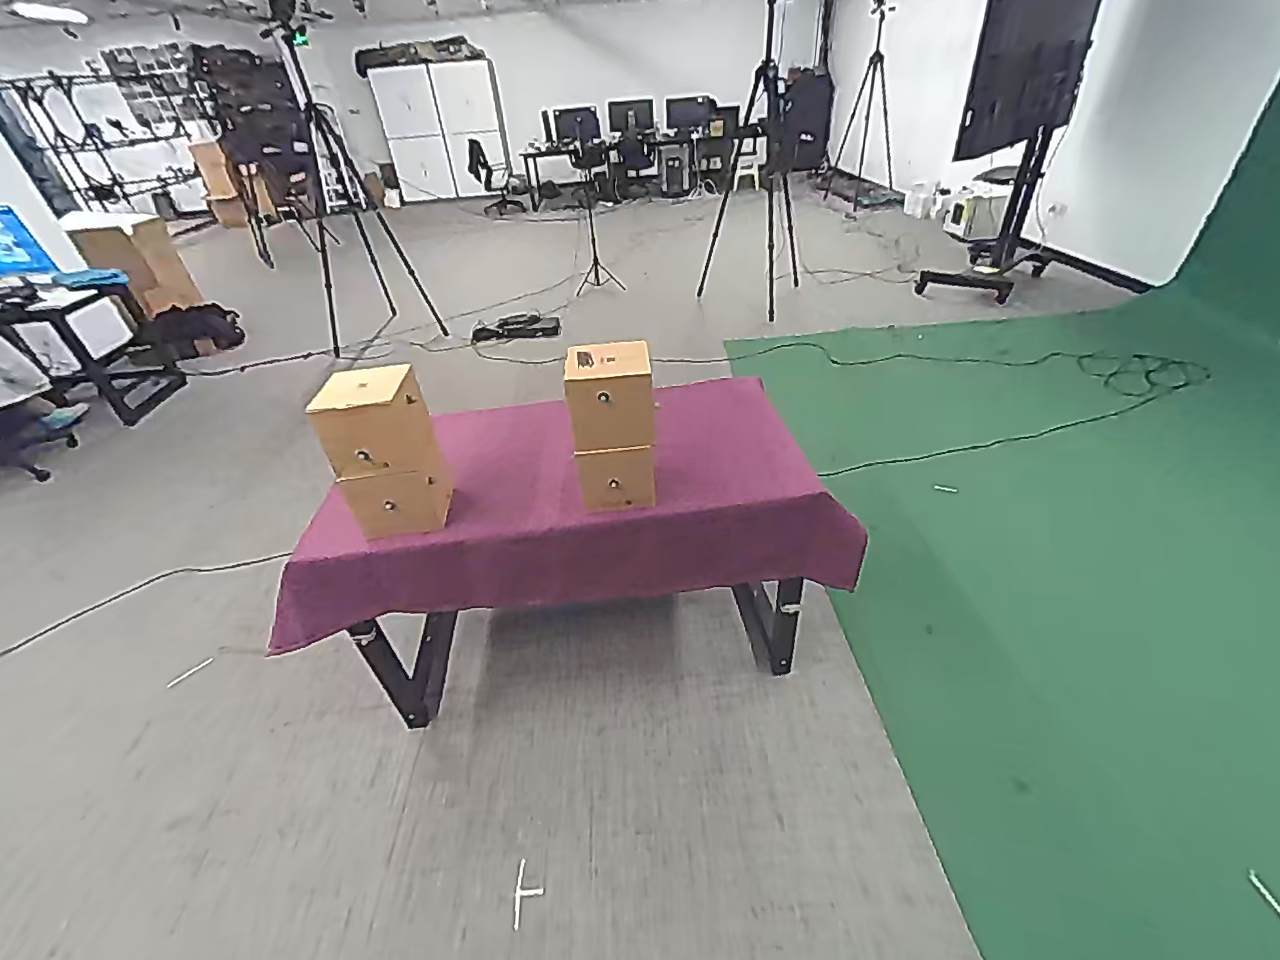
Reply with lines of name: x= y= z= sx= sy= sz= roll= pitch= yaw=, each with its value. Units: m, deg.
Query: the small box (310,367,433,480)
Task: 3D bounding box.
small box: x=-0.553 y=-0.121 z=1.145 sx=0.168 sy=0.176 sz=0.179 roll=-7 pitch=37 yaw=-3

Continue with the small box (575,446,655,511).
small box: x=-0.055 y=-0.040 z=1.255 sx=0.168 sy=0.176 sz=0.179 roll=-5 pitch=36 yaw=-1

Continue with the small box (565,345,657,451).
small box: x=-0.058 y=-0.174 z=1.159 sx=0.179 sy=0.176 sz=0.168 roll=-4 pitch=37 yaw=0
